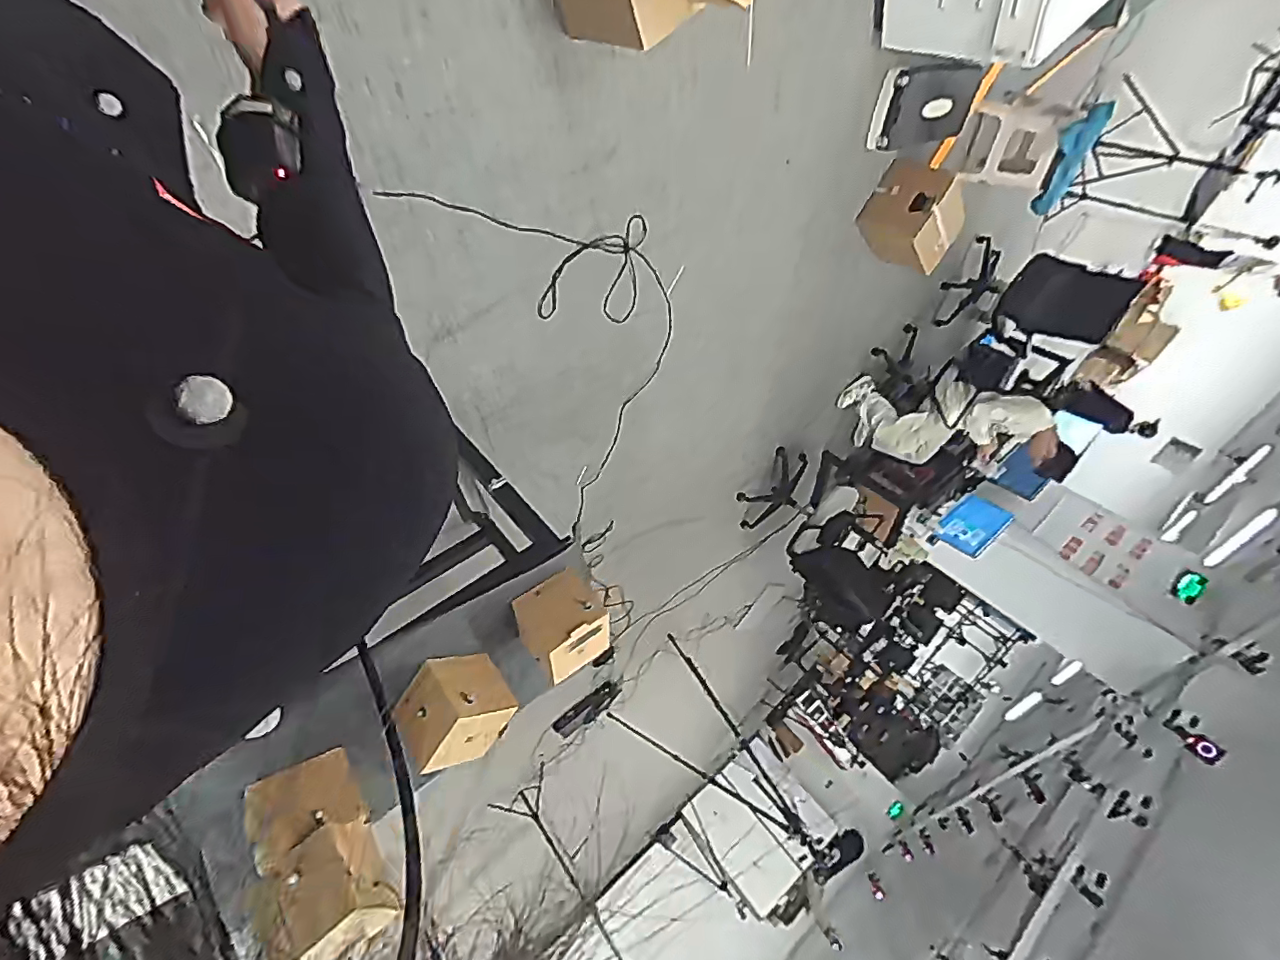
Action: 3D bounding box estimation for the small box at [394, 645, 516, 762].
[{"bbox_3d":[-0.427,0.500,1.237,0.168,0.176,0.179,-55,148,11],"label":"small box"}]

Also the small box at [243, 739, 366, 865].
[{"bbox_3d":[-0.693,0.678,1.109,0.179,0.176,0.168,-10,132,-46],"label":"small box"}]

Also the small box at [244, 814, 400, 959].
[{"bbox_3d":[-0.590,0.762,1.011,0.168,0.176,0.179,-36,146,-20],"label":"small box"}]
